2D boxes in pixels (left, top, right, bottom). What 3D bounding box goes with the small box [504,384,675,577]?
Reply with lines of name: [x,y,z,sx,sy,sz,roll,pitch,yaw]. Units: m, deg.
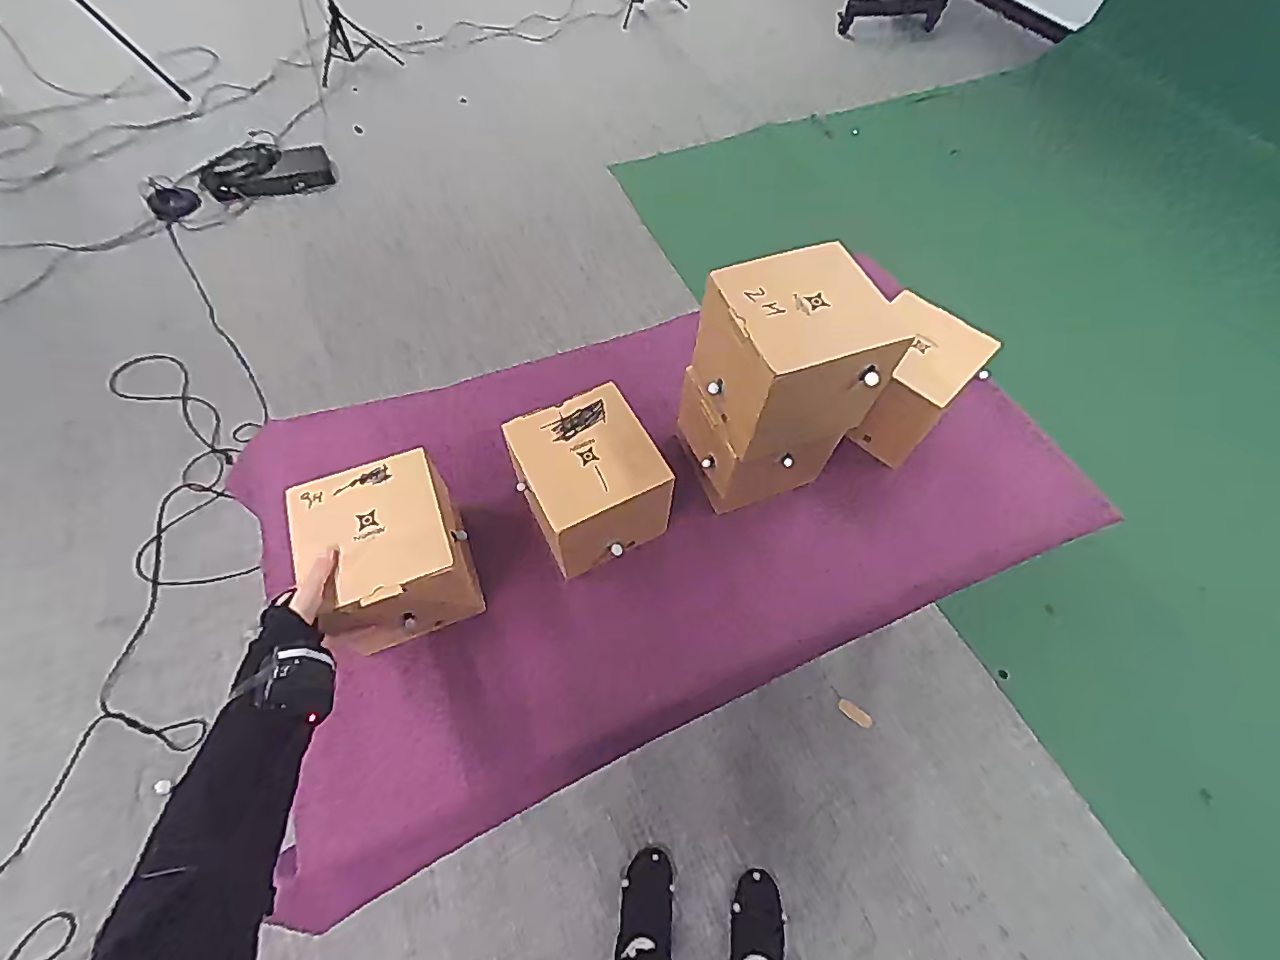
small box: [-0.071,0.005,0.751,0.168,0.176,0.179,-24,64,-15]

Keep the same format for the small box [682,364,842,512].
small box: [0.169,-0.074,0.808,0.179,0.176,0.168,-17,62,-12]

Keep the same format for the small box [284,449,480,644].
small box: [-0.317,0.094,0.688,0.168,0.176,0.179,-19,63,-13]

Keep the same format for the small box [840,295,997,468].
small box: [0.410,-0.152,0.863,0.179,0.176,0.168,-40,68,-22]

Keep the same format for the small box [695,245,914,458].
small box: [0.183,-0.152,0.663,0.179,0.176,0.168,-17,62,-12]
